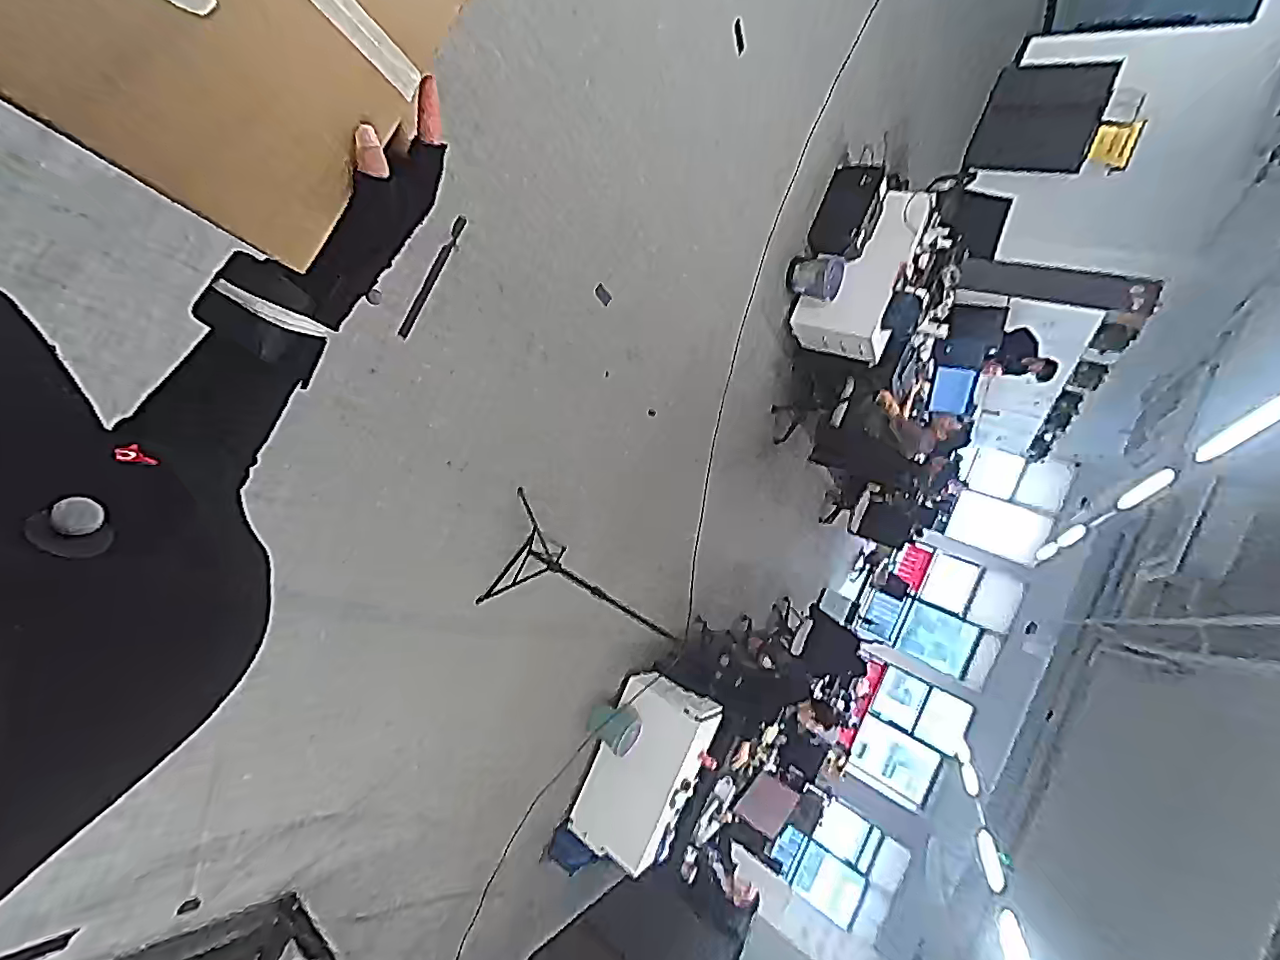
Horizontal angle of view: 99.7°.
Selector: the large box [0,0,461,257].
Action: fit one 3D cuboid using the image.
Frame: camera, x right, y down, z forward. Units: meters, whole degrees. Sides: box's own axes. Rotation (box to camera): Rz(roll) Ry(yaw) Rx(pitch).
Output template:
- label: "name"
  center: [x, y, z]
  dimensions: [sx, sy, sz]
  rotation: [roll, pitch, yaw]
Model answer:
- label: "large box"
  center: [-0.375, -0.411, 0.319]
  dimensions: [0.320, 0.320, 0.408]
  rotation: [-58, 147, 1]
